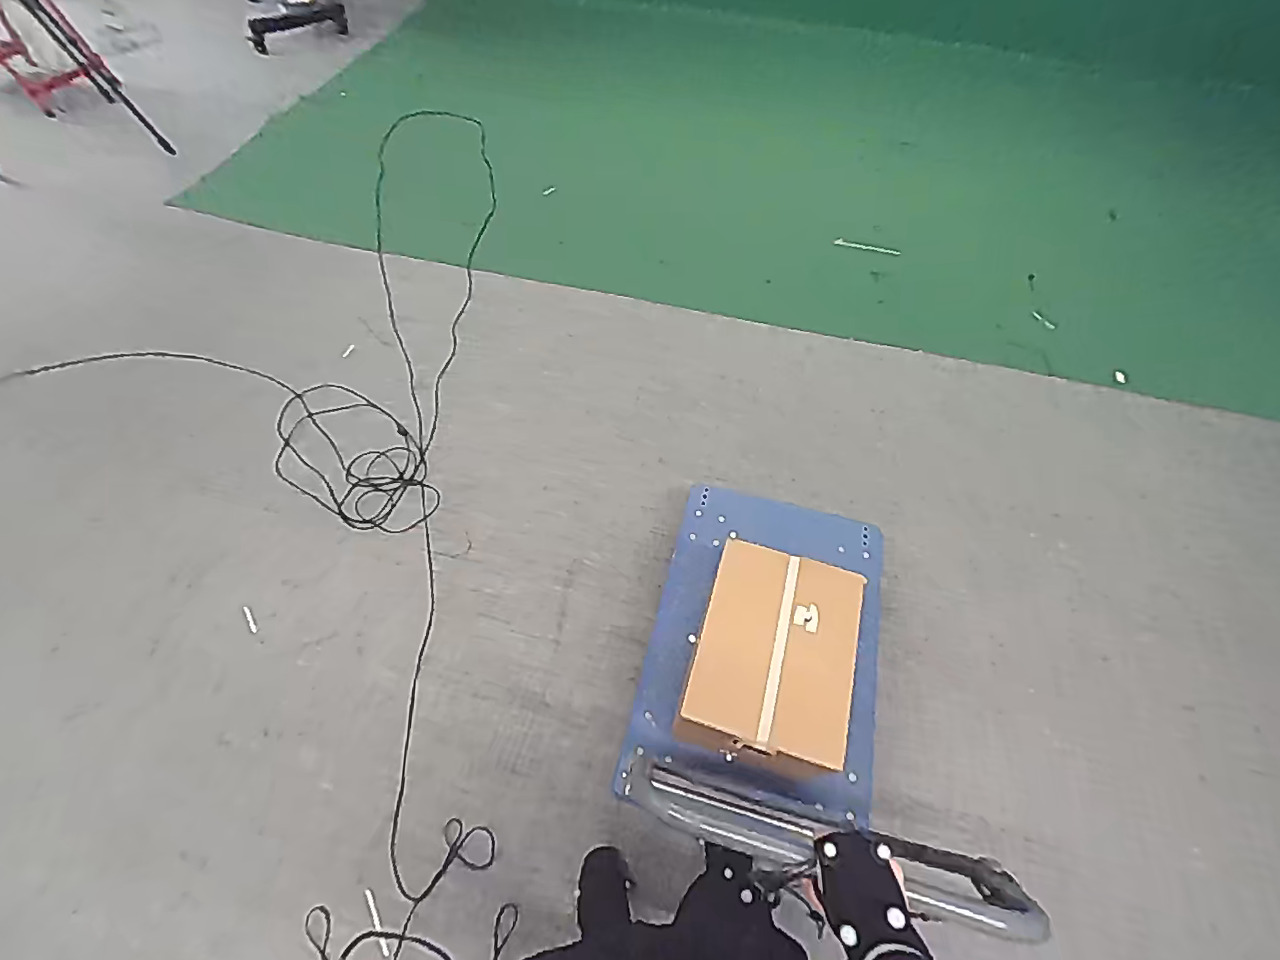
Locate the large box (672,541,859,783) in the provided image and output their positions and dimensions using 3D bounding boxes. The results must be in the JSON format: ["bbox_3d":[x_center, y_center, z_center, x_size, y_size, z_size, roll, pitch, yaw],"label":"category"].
[{"bbox_3d":[0.275,0.415,1.227,0.320,0.320,0.408,16,58,8],"label":"large box"}]
